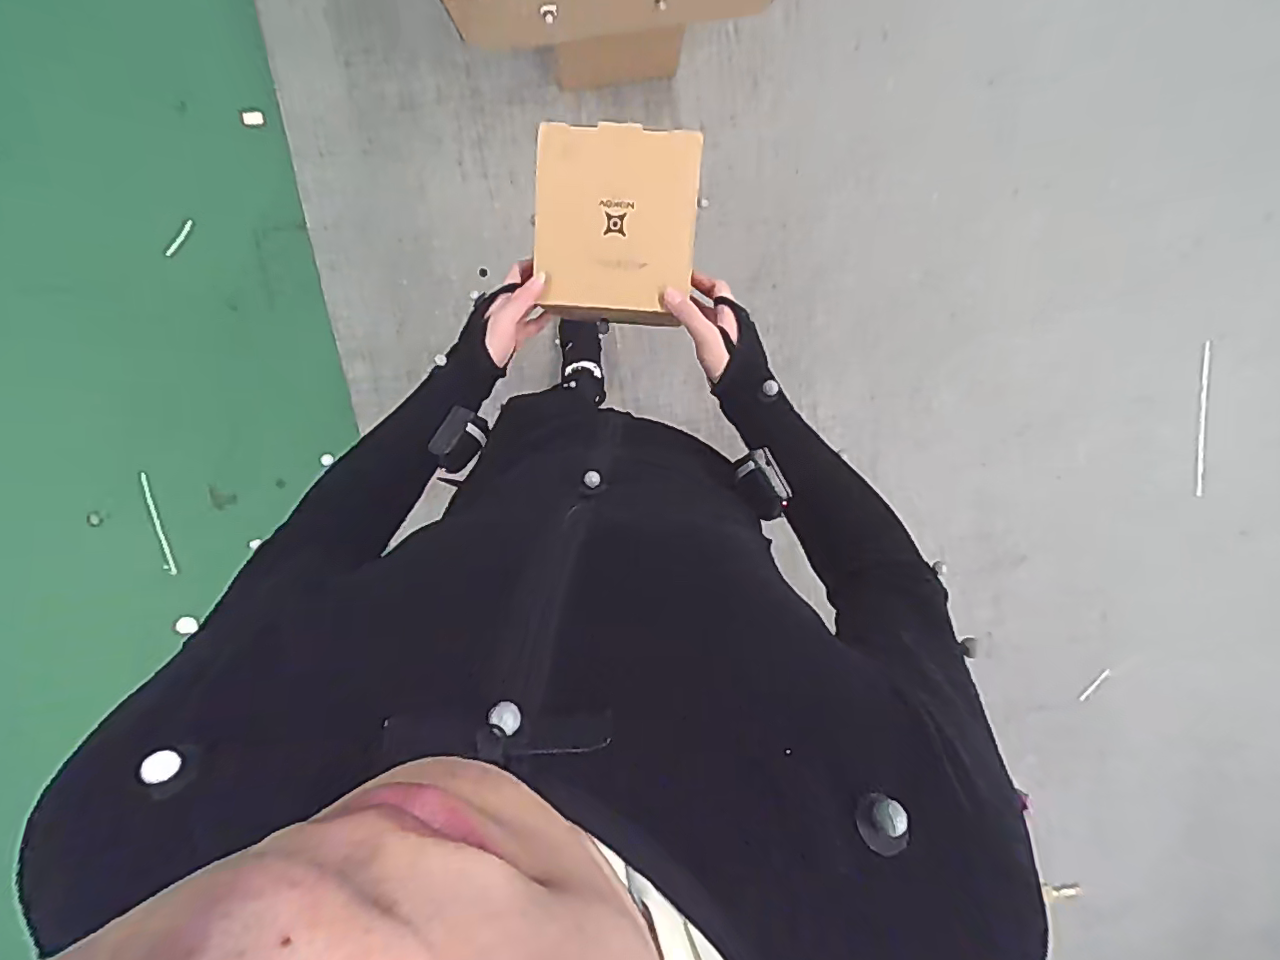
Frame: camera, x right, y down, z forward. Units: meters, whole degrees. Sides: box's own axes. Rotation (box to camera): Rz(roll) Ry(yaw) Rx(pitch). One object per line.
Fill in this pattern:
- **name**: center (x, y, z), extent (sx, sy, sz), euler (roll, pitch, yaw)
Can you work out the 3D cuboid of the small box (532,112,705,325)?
- **small box**: center (-0.023, -0.283, 0.623), extent (0.168, 0.176, 0.179), euler (5, 100, 1)
